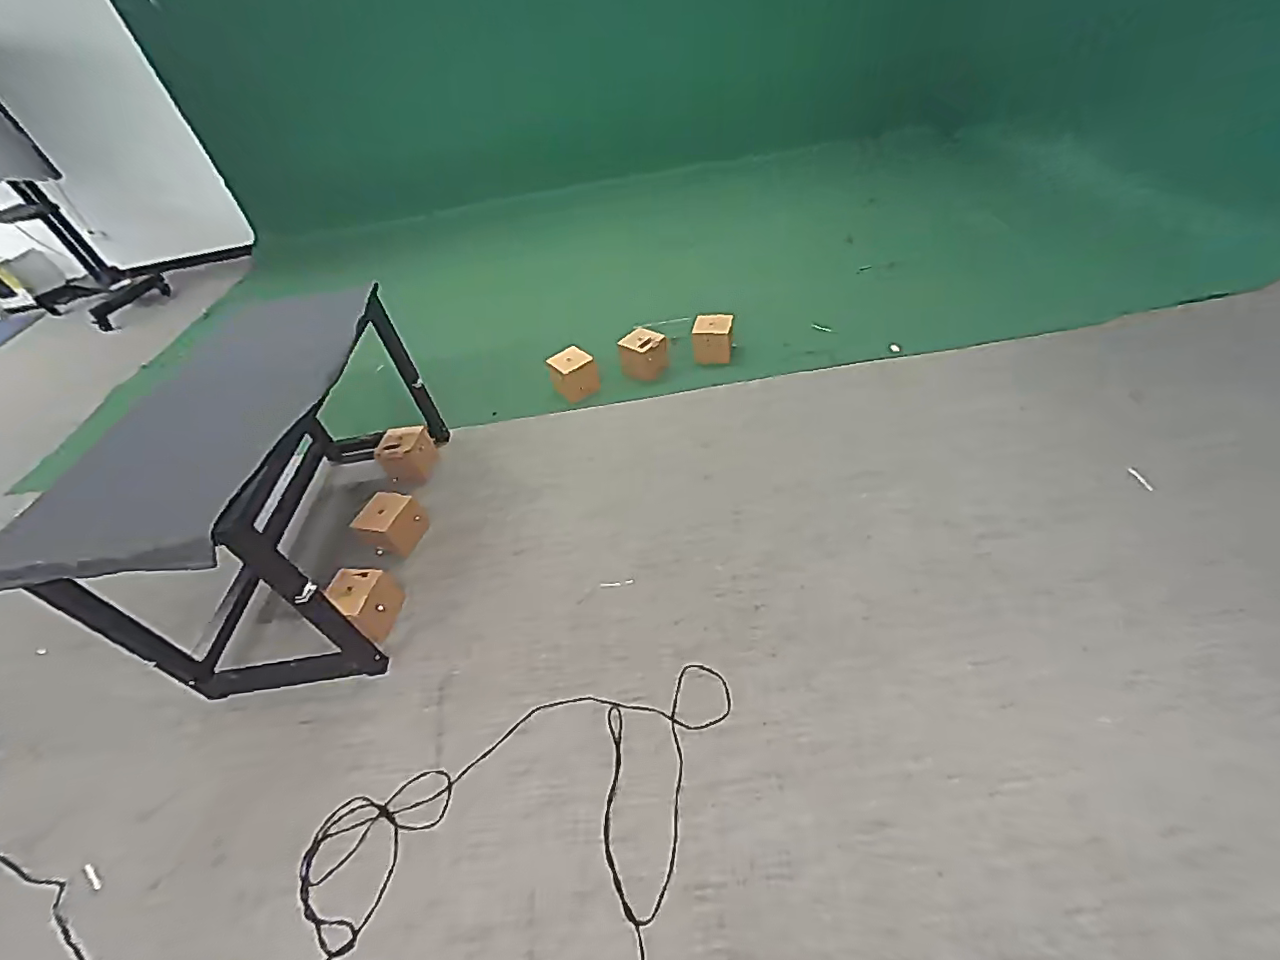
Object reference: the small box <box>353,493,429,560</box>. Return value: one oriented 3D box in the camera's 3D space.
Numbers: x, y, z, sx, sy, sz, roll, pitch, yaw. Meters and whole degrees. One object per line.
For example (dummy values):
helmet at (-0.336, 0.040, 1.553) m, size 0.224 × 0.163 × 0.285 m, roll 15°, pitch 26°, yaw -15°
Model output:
small box at (-0.924, 0.175, 2.032) m, size 0.168 × 0.176 × 0.179 m, roll 5°, pitch 48°, yaw 18°

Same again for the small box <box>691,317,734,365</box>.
small box at (0.352, -0.668, 2.602) m, size 0.179 × 0.176 × 0.168 m, roll 6°, pitch 48°, yaw 16°

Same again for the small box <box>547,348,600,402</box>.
small box at (-0.316, -0.498, 2.575) m, size 0.168 × 0.176 × 0.179 m, roll -35°, pitch 50°, yaw -22°

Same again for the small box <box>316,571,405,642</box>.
small box at (-0.913, 0.420, 1.786) m, size 0.168 × 0.176 × 0.179 m, roll 0°, pitch 47°, yaw 11°

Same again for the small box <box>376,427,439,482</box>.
small box at (-0.990, -0.103, 2.321) m, size 0.168 × 0.176 × 0.179 m, roll -5°, pitch 44°, yaw 7°
